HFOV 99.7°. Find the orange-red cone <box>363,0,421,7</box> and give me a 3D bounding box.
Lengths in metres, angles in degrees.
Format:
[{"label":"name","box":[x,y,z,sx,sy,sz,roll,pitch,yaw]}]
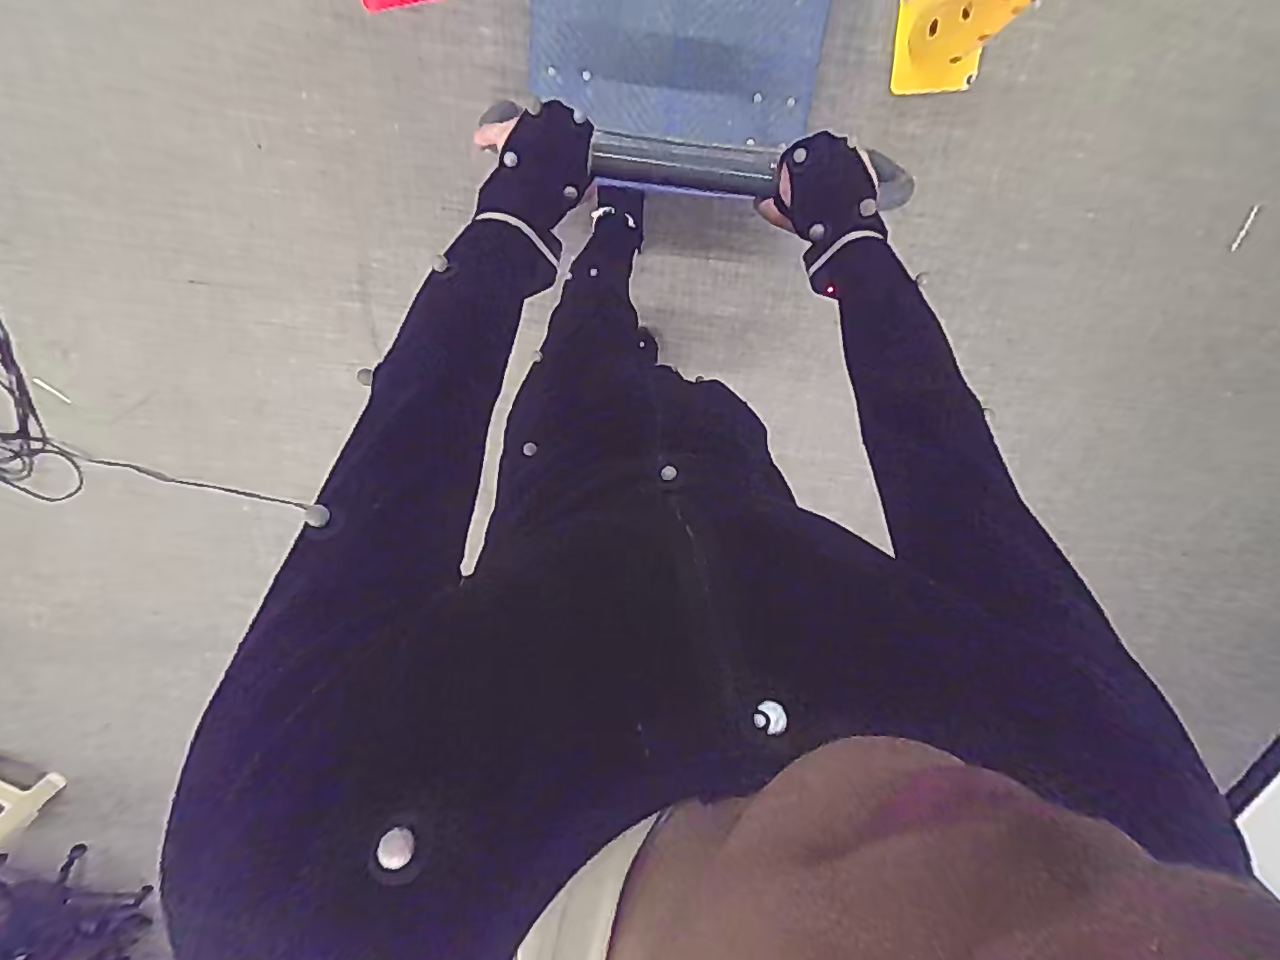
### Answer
[{"label":"orange-red cone","box":[-0.503,-1.025,0.949,0.199,0.360,0.198,-7,116,3]}]
